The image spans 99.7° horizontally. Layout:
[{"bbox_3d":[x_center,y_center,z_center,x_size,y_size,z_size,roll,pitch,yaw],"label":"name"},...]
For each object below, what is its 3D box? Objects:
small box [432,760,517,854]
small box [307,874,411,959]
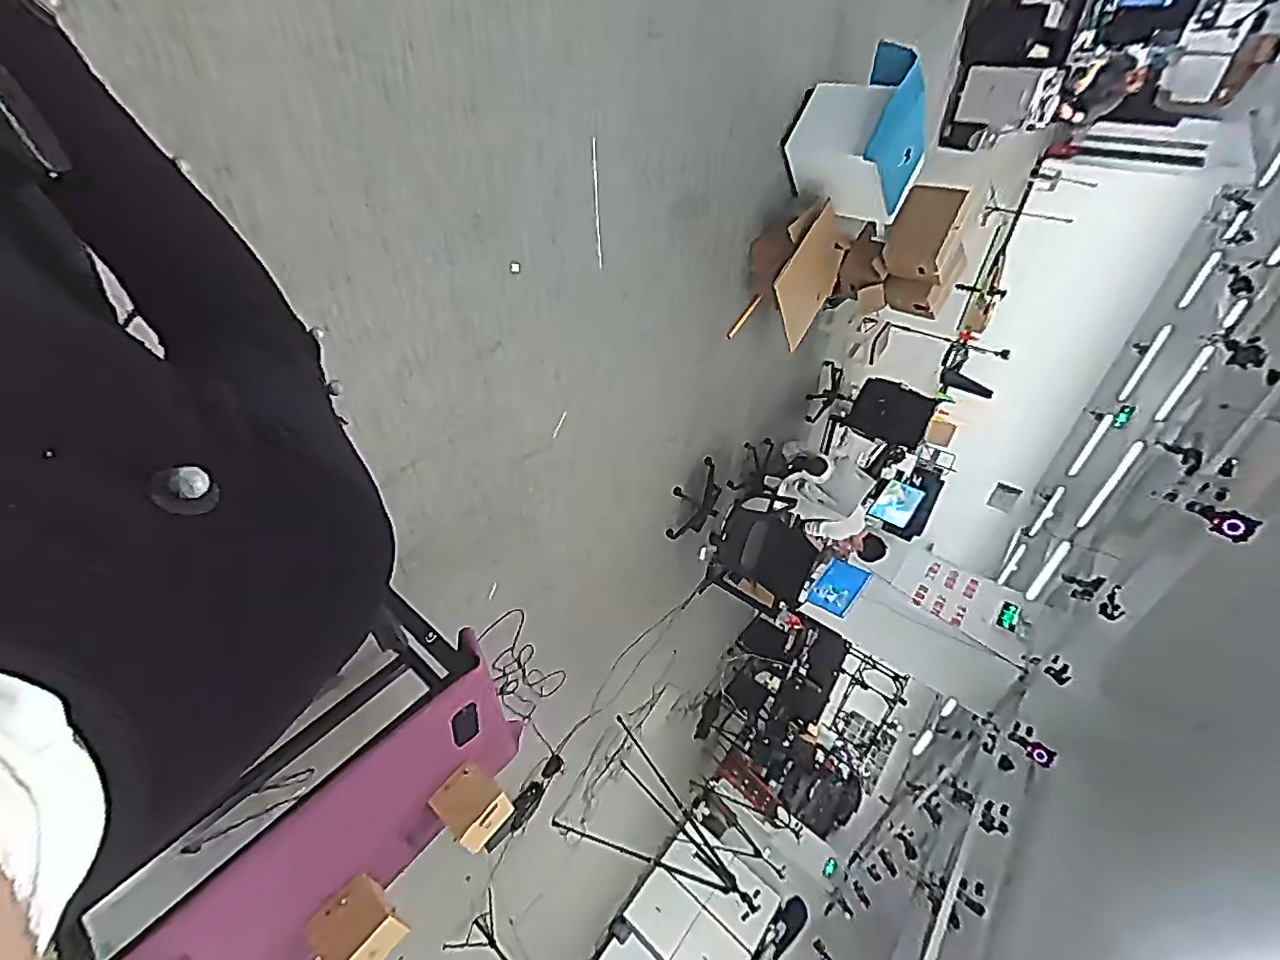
[{"bbox_3d":[-0.516,1.012,1.684,0.168,0.176,0.179,-40,145,-32],"label":"small box"},{"bbox_3d":[-0.766,1.230,1.482,0.168,0.176,0.179,-39,143,-35],"label":"small box"}]
